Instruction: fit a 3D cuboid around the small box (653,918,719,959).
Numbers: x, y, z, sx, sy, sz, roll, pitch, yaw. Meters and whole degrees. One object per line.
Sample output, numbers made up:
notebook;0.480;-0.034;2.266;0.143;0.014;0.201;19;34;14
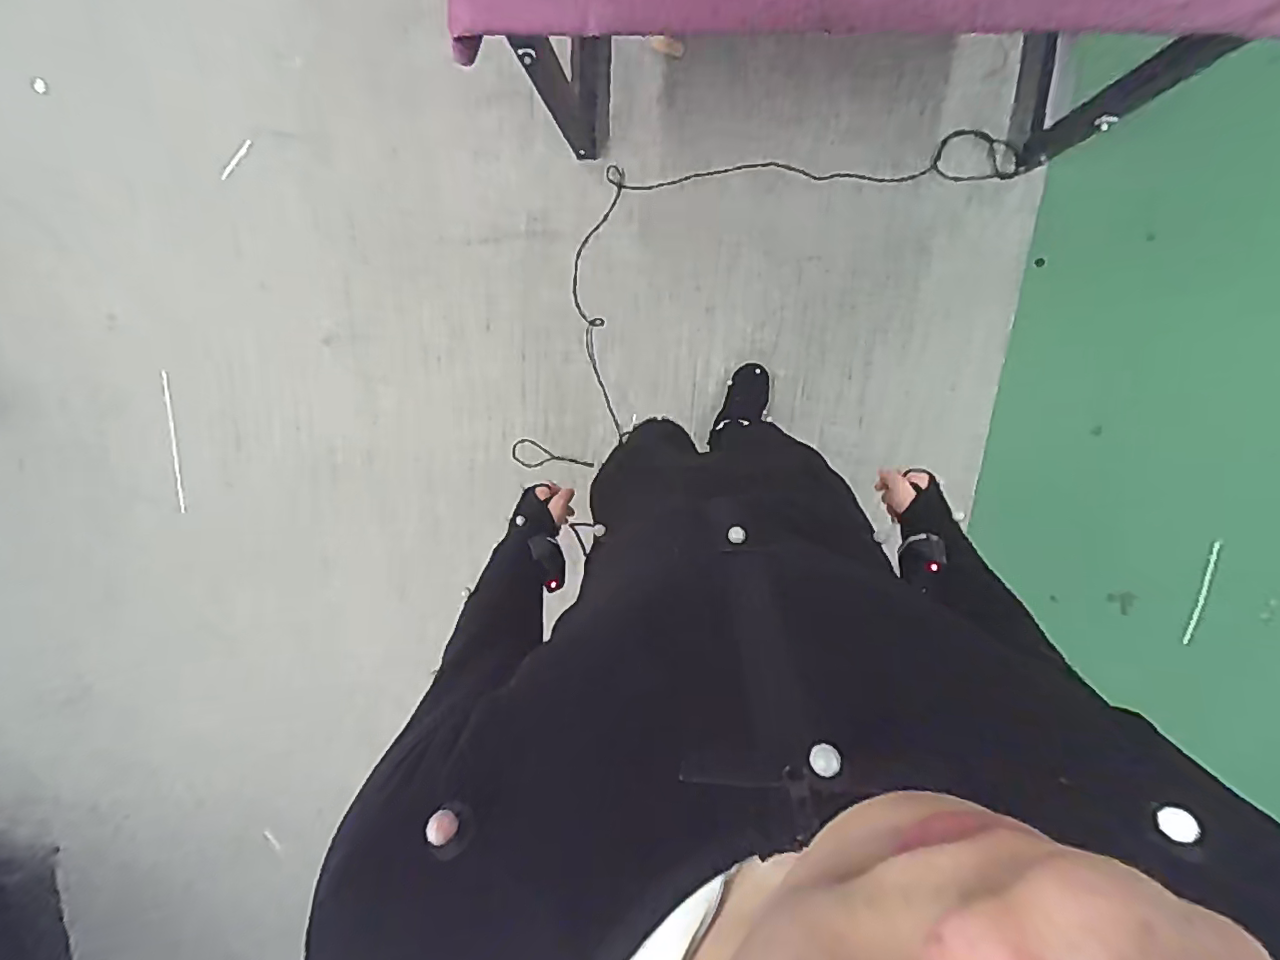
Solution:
small box;0.116;1.316;1.431;0.168;0.176;0.179;7;104;5

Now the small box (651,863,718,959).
small box;0.133;1.284;1.591;0.168;0.176;0.179;9;103;4
